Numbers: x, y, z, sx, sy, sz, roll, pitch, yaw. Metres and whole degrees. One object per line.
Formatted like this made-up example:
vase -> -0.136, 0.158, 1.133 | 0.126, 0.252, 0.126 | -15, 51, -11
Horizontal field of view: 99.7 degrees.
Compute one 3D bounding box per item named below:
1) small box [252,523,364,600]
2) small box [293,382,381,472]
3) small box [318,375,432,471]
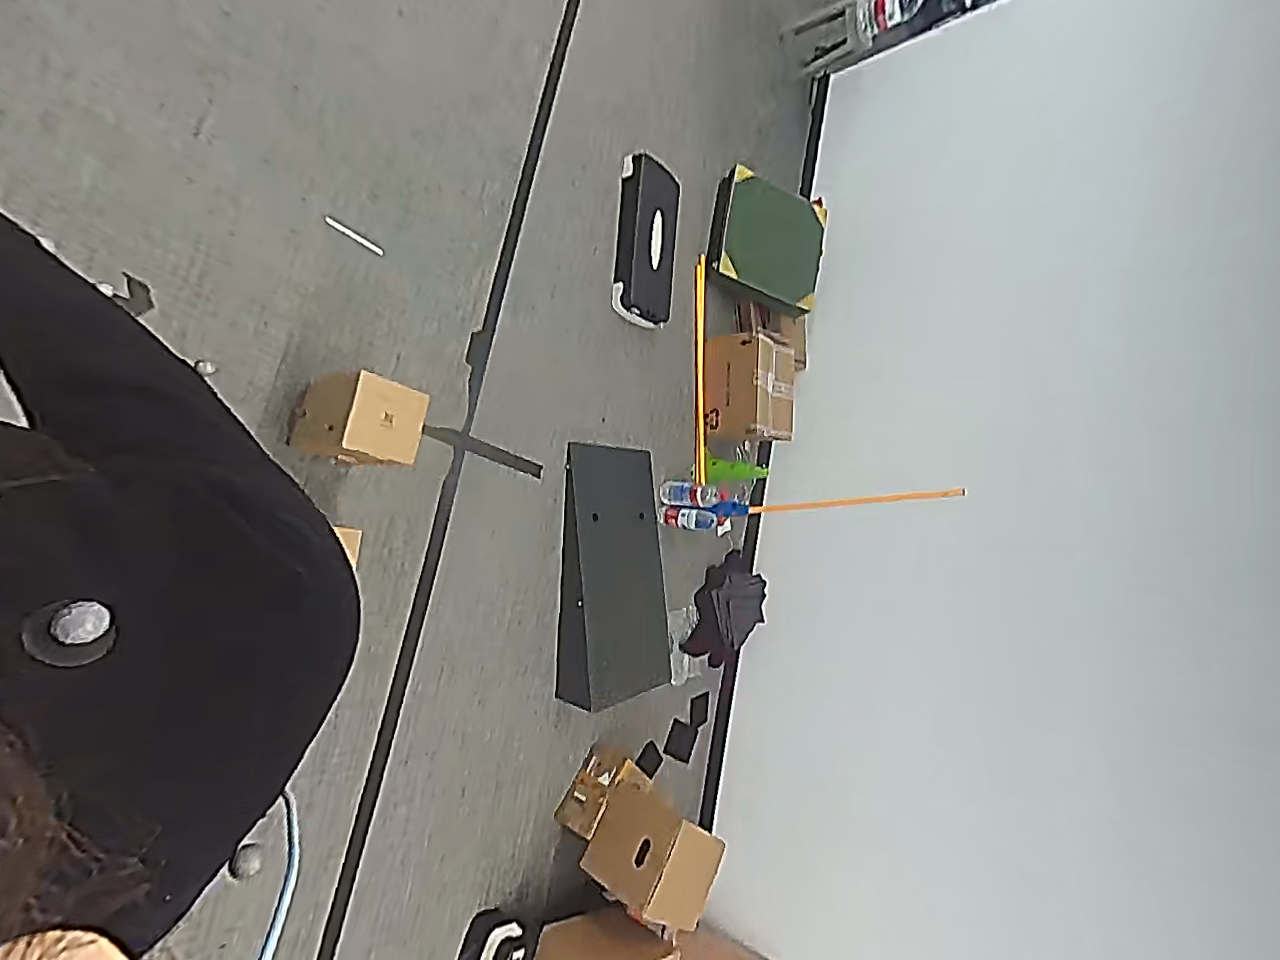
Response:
small box -> -0.804, 0.196, 1.307 | 0.179, 0.176, 0.168 | 14, 82, -50
small box -> -0.741, -0.129, 1.360 | 0.168, 0.176, 0.179 | 24, 75, -48
small box -> -0.618, -0.125, 1.253 | 0.168, 0.176, 0.179 | 21, 75, -49
